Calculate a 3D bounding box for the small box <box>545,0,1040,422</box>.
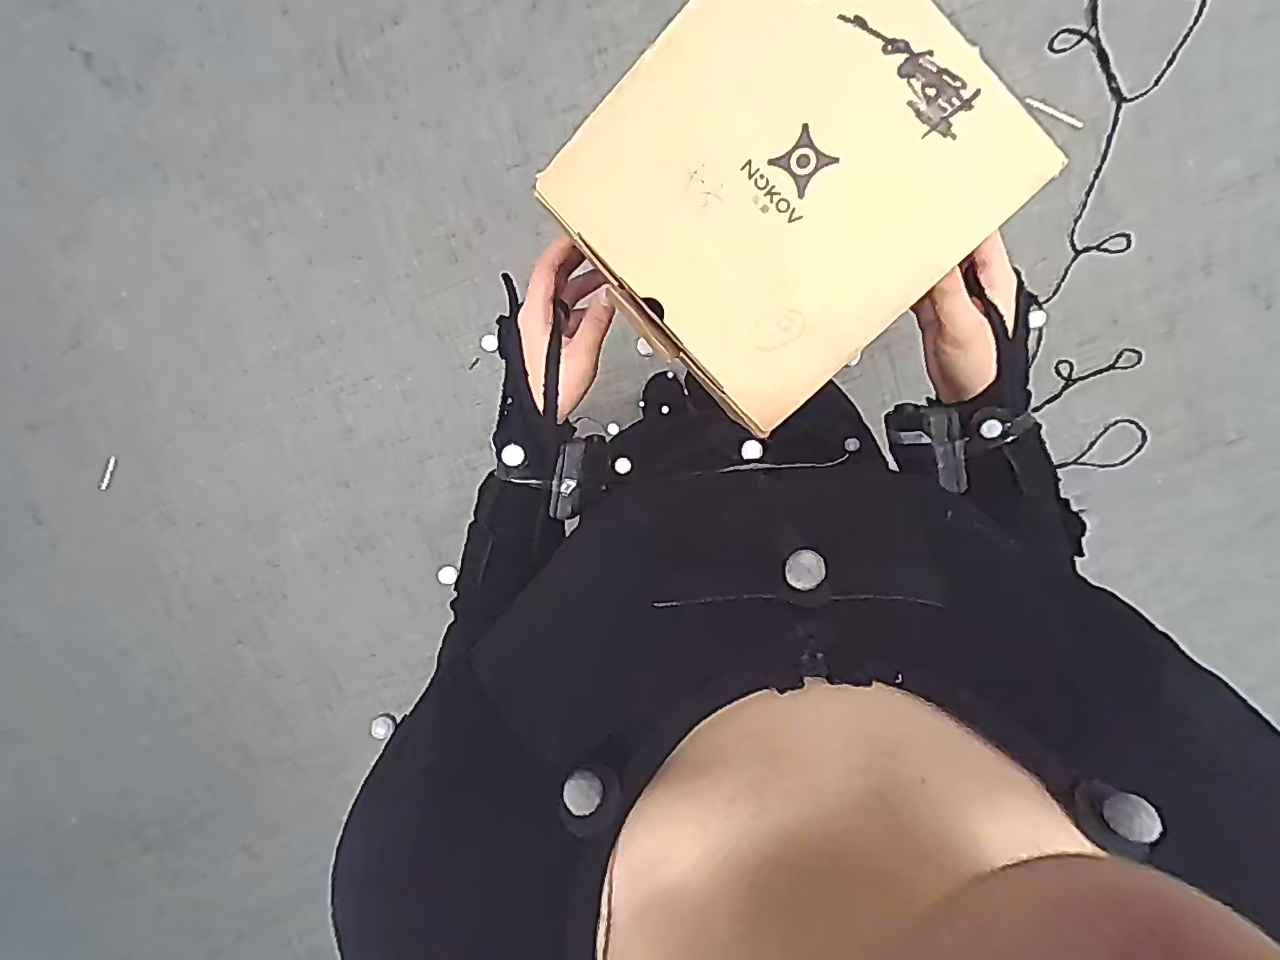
[{"bbox_3d":[0.076,-0.156,0.336,0.179,0.176,0.168,-44,93,11],"label":"small box"}]
